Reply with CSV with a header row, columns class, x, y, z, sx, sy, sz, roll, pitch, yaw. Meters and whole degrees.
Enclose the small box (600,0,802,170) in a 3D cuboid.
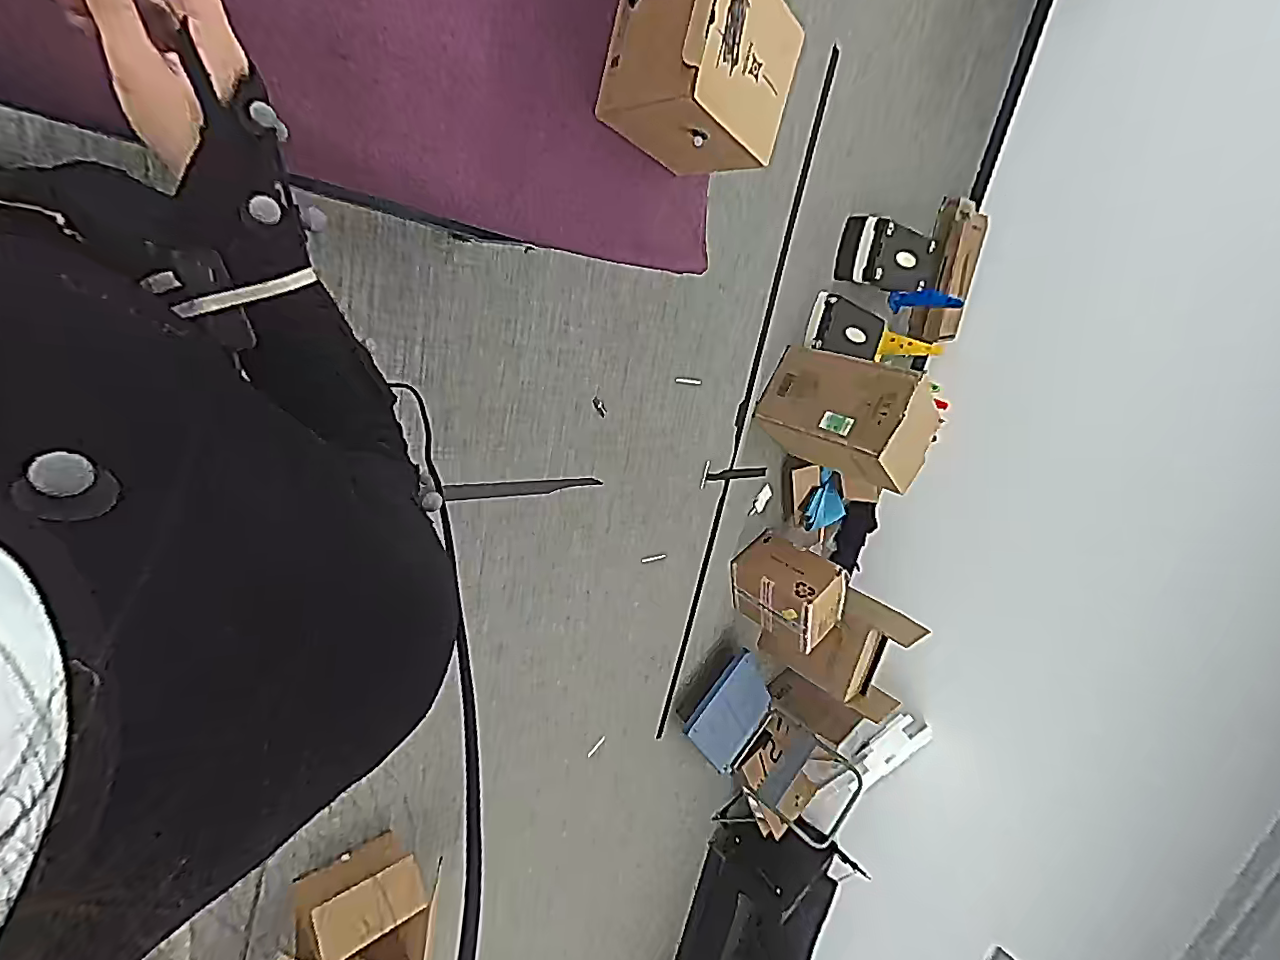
class,x,y,z,sx,sy,sz,roll,pitch,yaw
small box,0.074,-0.521,0.698,0.179,0.176,0.168,3,107,-48
